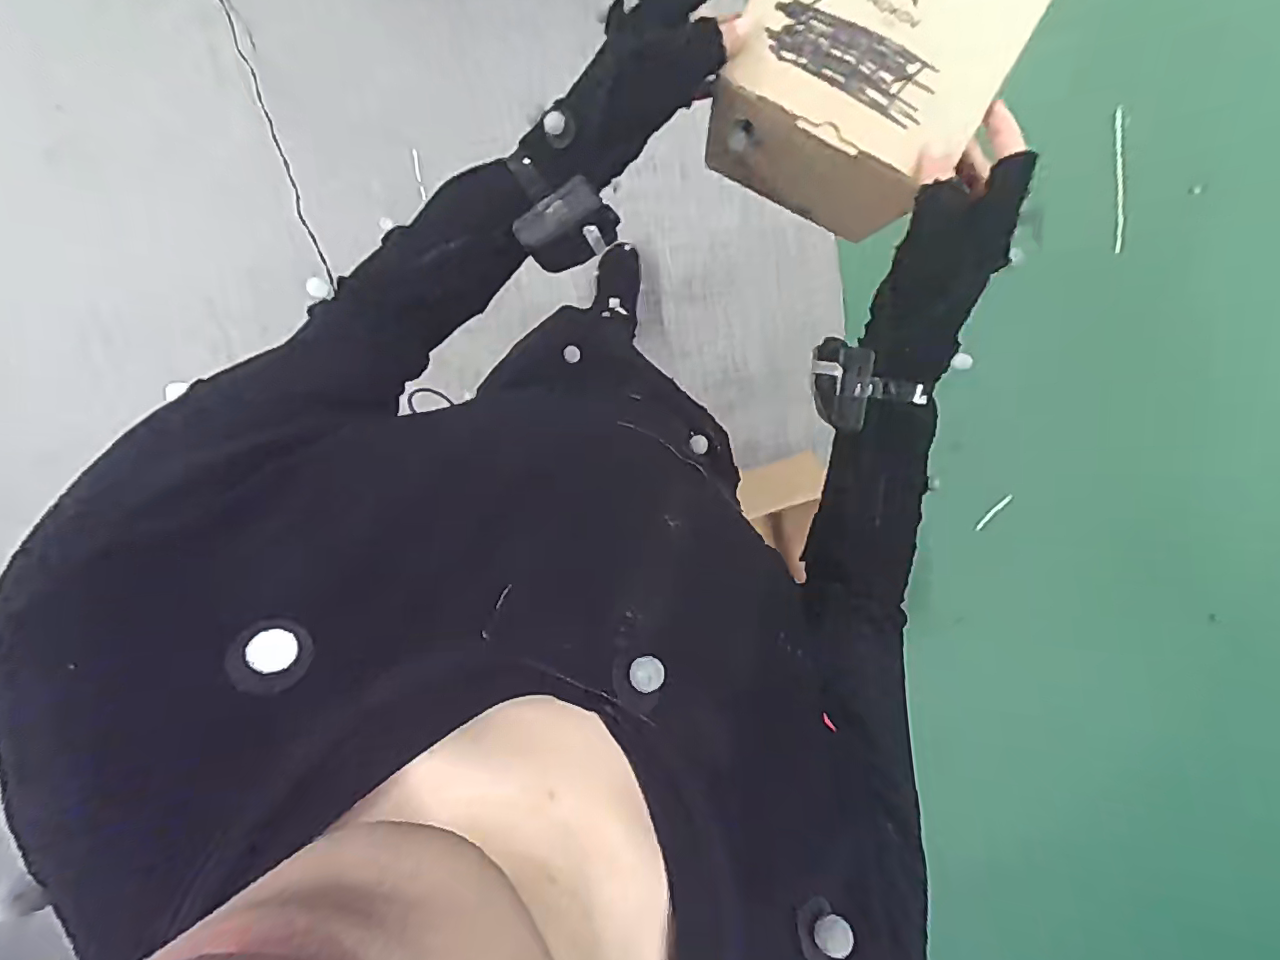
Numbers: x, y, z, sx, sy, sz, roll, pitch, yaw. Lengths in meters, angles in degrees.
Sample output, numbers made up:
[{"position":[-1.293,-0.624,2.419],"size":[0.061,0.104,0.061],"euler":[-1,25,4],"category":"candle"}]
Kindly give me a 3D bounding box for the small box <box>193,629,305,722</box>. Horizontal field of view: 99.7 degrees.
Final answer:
[{"position":[-1.074,0.538,1.503],"size":[0.168,0.176,0.179],"euler":[-8,101,5],"category":"small box"}]
